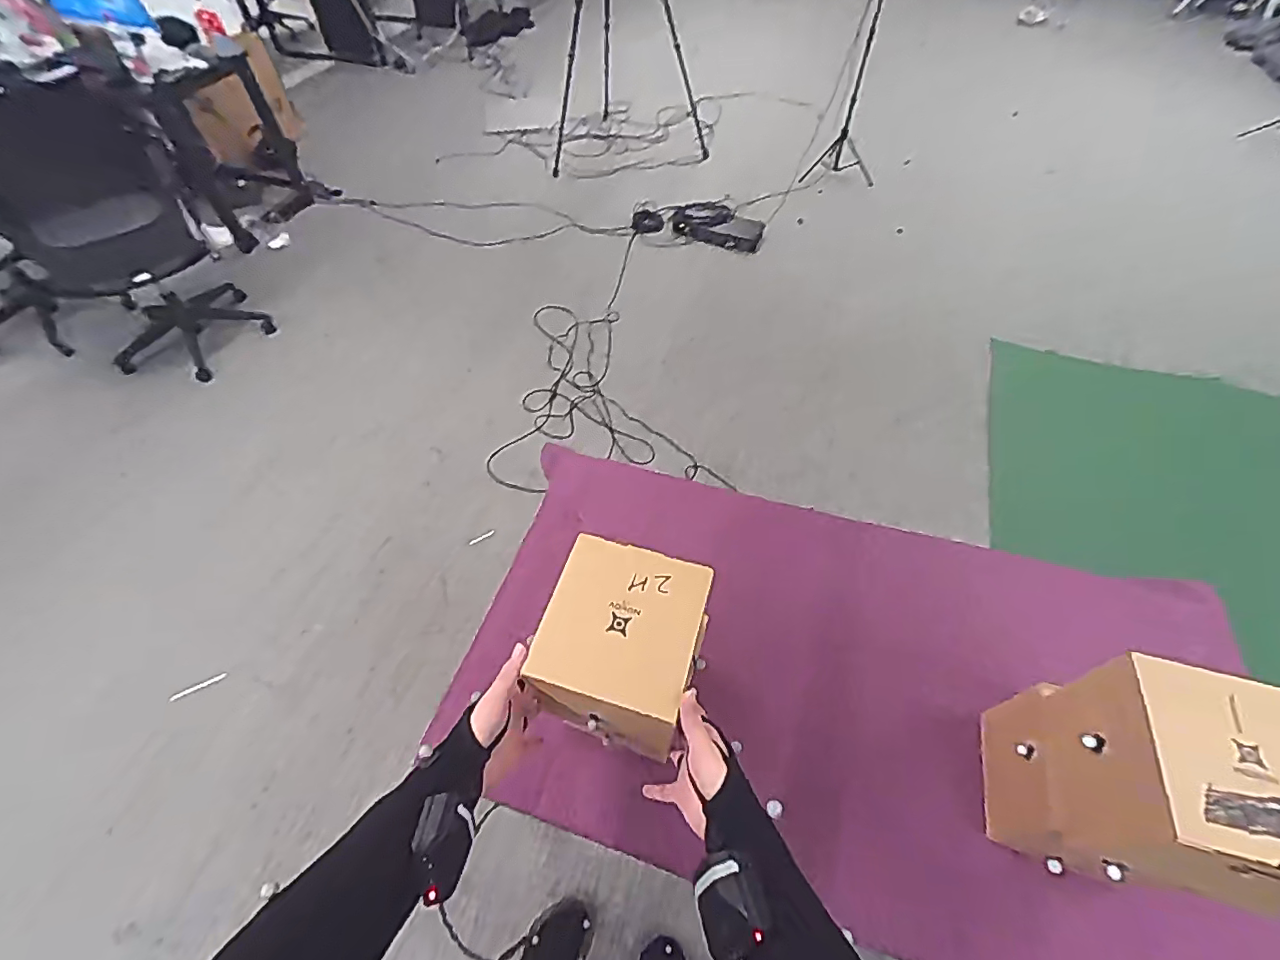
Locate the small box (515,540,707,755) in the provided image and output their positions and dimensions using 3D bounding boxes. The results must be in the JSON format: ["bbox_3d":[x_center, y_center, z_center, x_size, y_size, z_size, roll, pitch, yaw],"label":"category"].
[{"bbox_3d":[-0.024,0.204,0.646,0.168,0.176,0.179,14,54,11],"label":"small box"}]

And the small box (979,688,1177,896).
[{"bbox_3d":[0.564,0.404,0.701,0.168,0.176,0.179,15,54,13],"label":"small box"}]

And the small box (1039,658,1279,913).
[{"bbox_3d":[0.555,0.318,0.560,0.168,0.176,0.179,13,52,11],"label":"small box"}]
